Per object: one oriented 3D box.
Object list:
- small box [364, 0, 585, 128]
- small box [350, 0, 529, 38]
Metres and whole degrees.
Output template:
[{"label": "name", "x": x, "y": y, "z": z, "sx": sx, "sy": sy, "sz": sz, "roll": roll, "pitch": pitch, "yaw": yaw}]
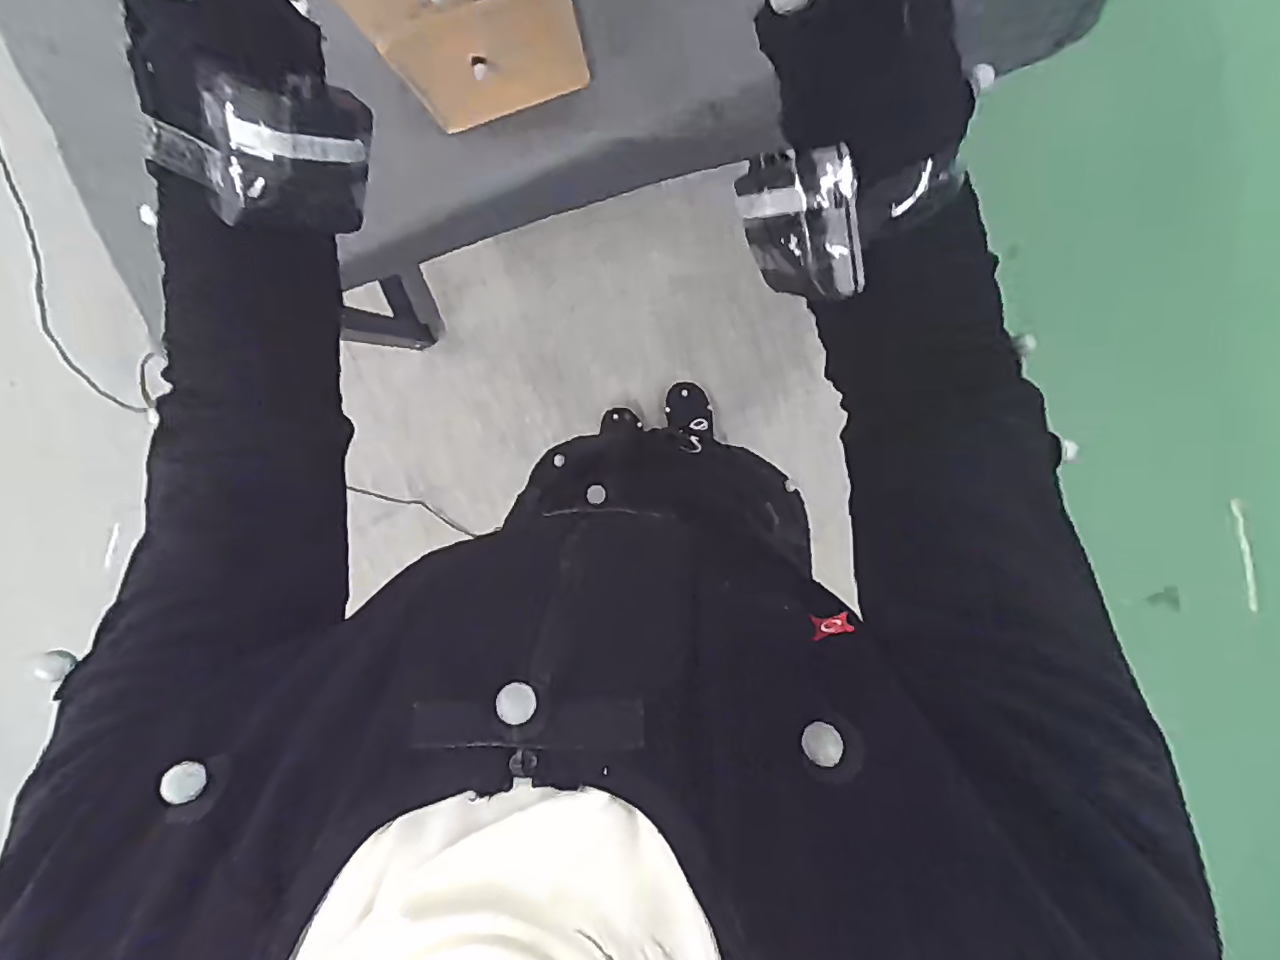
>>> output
[{"label": "small box", "x": -0.168, "y": -0.490, "z": 0.535, "sx": 0.179, "sy": 0.176, "sz": 0.168, "roll": -16, "pitch": 98, "yaw": 5}, {"label": "small box", "x": -0.176, "y": -0.467, "z": 0.372, "sx": 0.168, "sy": 0.176, "sz": 0.179, "roll": -13, "pitch": 99, "yaw": 4}]
